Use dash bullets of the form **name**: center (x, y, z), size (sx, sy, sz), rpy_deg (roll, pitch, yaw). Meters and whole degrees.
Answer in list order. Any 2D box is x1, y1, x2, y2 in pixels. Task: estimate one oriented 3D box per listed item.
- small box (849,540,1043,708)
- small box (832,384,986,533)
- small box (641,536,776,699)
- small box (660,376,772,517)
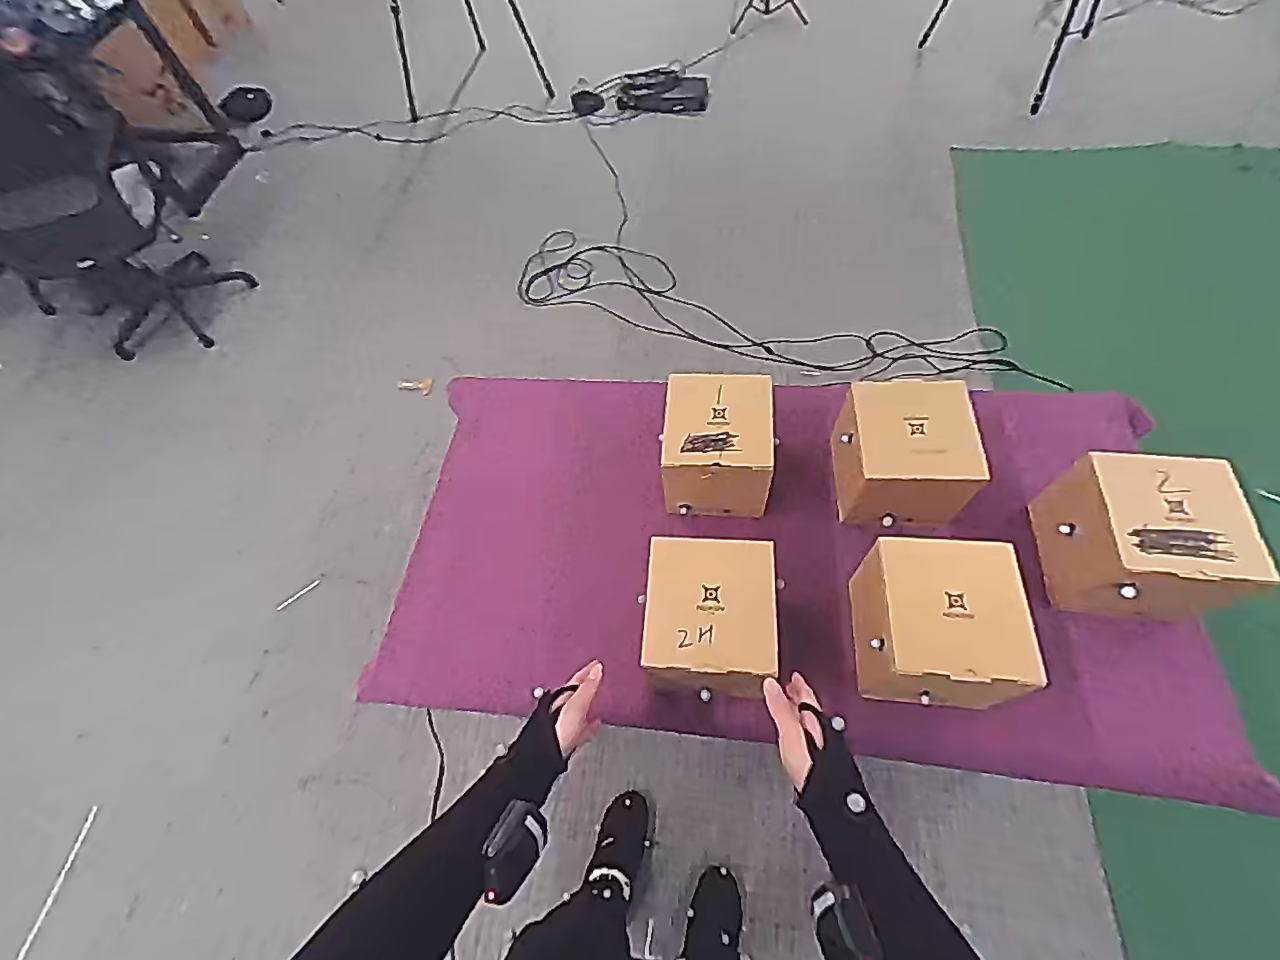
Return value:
- **small box**: center (0.392, 0.198, 0.731), size (0.168, 0.176, 0.179), rpy_deg (3, 61, 7)
- **small box**: center (0.410, -0.032, 0.860), size (0.168, 0.176, 0.179), rpy_deg (2, 62, 8)
- **small box**: center (0.096, 0.196, 0.759), size (0.168, 0.176, 0.179), rpy_deg (2, 60, 7)
- **small box**: center (0.128, -0.050, 0.898), size (0.168, 0.176, 0.179), rpy_deg (3, 60, 7)
